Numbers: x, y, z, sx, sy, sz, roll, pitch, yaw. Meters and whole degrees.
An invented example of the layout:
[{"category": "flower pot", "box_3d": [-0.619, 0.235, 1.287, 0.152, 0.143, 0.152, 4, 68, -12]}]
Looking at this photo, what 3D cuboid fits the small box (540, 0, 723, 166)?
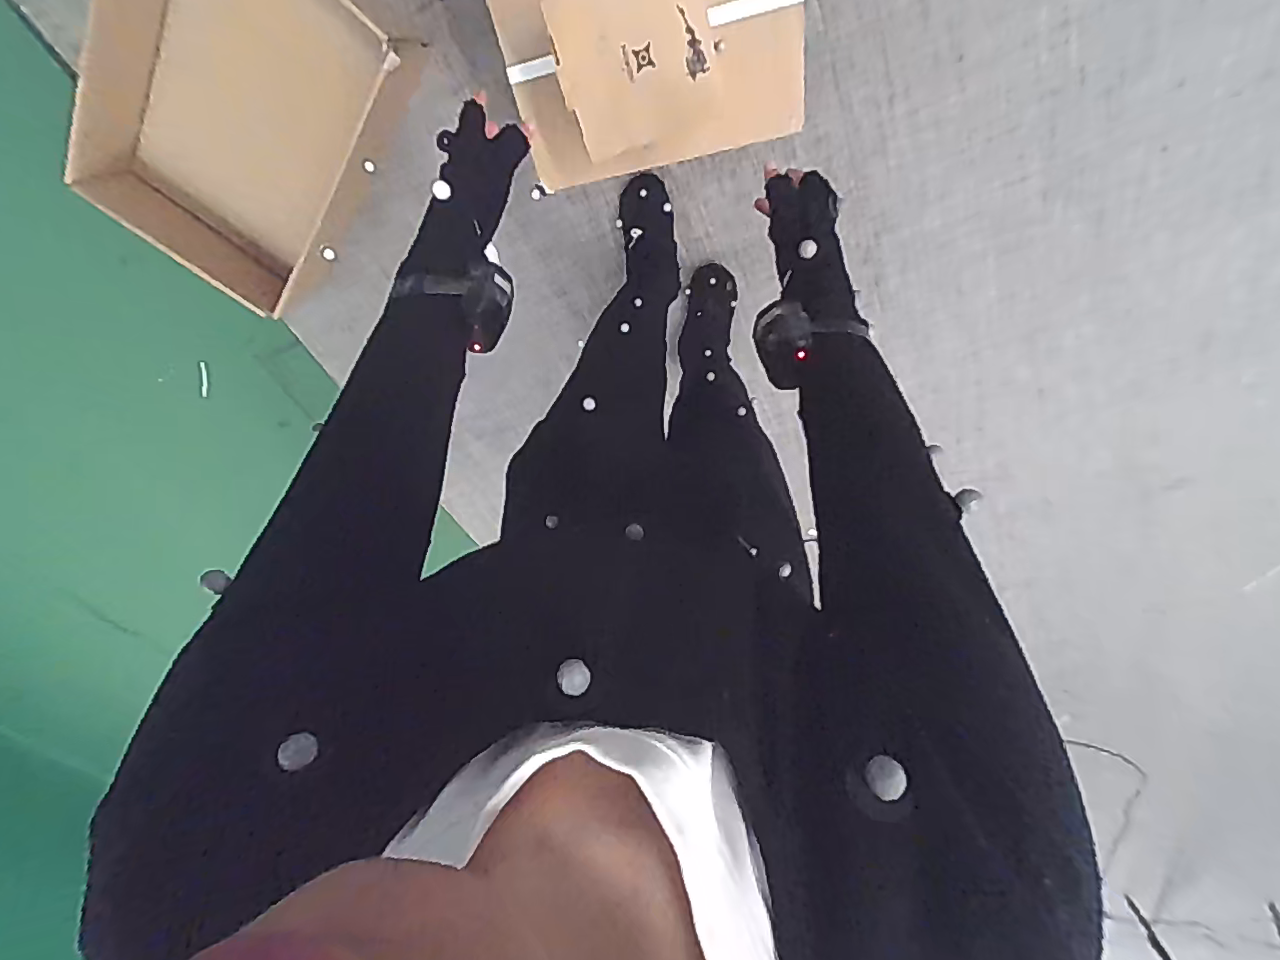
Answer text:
[{"category": "small box", "box_3d": [0.002, -0.519, 0.677, 0.179, 0.176, 0.168, -11, 127, 14]}]
